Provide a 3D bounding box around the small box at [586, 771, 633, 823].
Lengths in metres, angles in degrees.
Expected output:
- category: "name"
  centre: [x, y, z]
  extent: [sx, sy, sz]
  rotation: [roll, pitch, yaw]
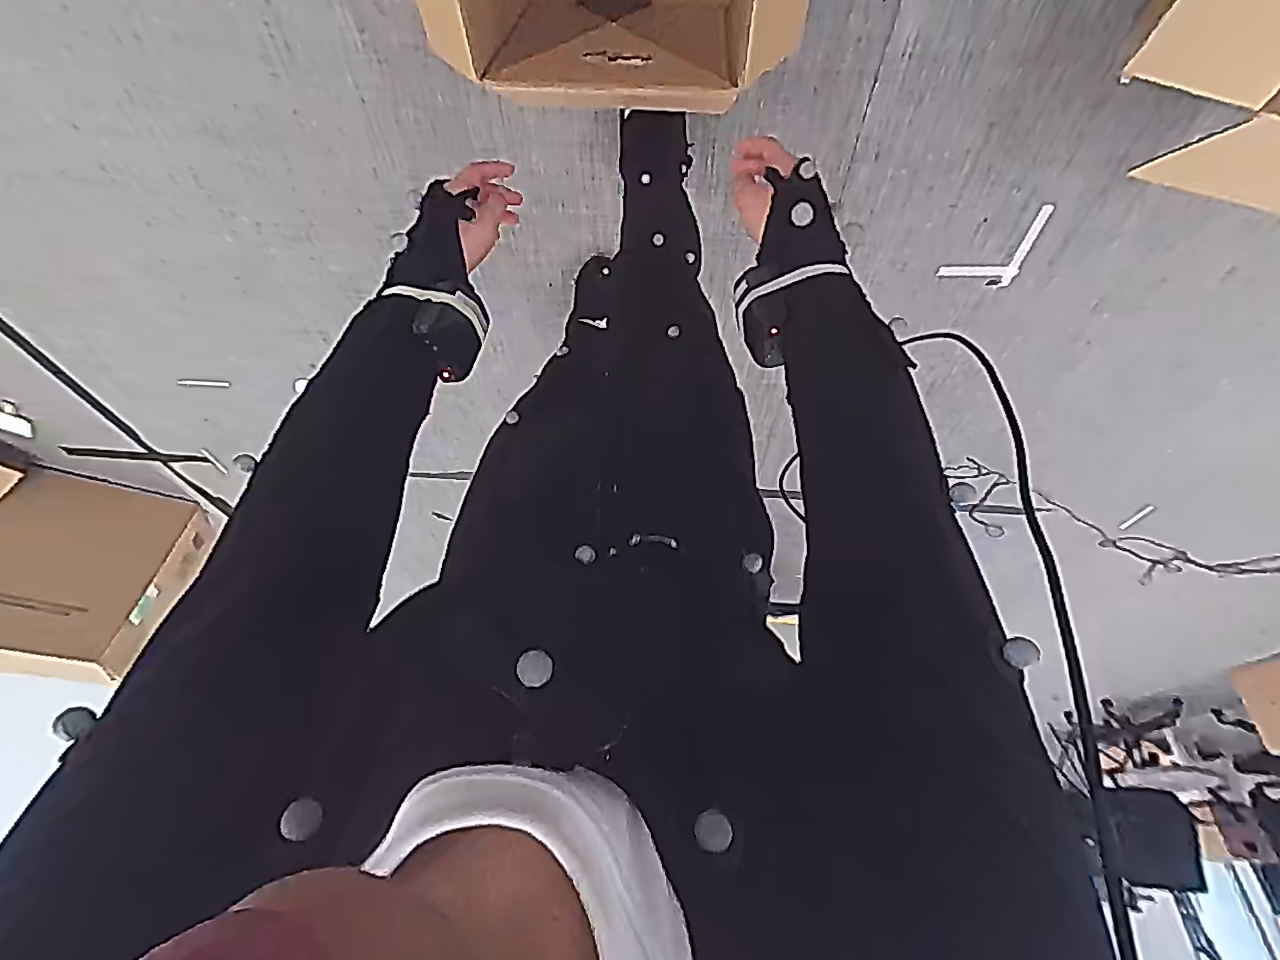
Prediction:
- category: "small box"
  centre: [-0.125, 1.339, 2.287]
  extent: [0.179, 0.176, 0.168]
  rotation: [3, 144, 2]
